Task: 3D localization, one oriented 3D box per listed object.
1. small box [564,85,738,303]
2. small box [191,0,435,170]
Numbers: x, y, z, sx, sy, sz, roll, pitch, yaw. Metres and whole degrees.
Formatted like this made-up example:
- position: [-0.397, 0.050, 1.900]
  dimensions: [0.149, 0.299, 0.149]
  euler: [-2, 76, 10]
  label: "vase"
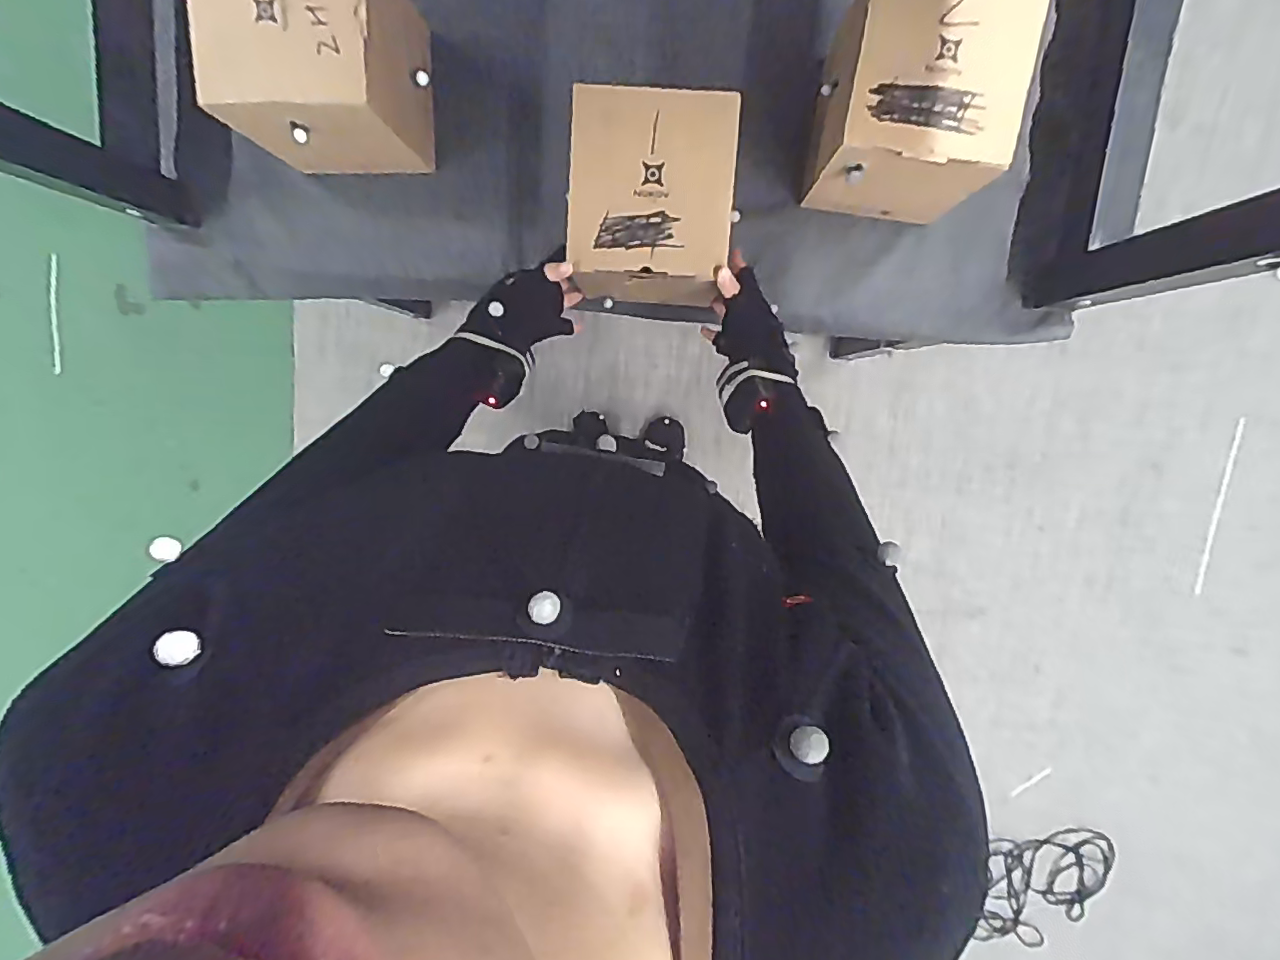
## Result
- position: [0.011, -0.307, 0.619]
  dimensions: [0.168, 0.176, 0.179]
  euler: [4, 98, 0]
  label: "small box"
- position: [-0.350, -0.467, 0.605]
  dimensions: [0.179, 0.176, 0.168]
  euler: [1, 99, 1]
  label: "small box"
